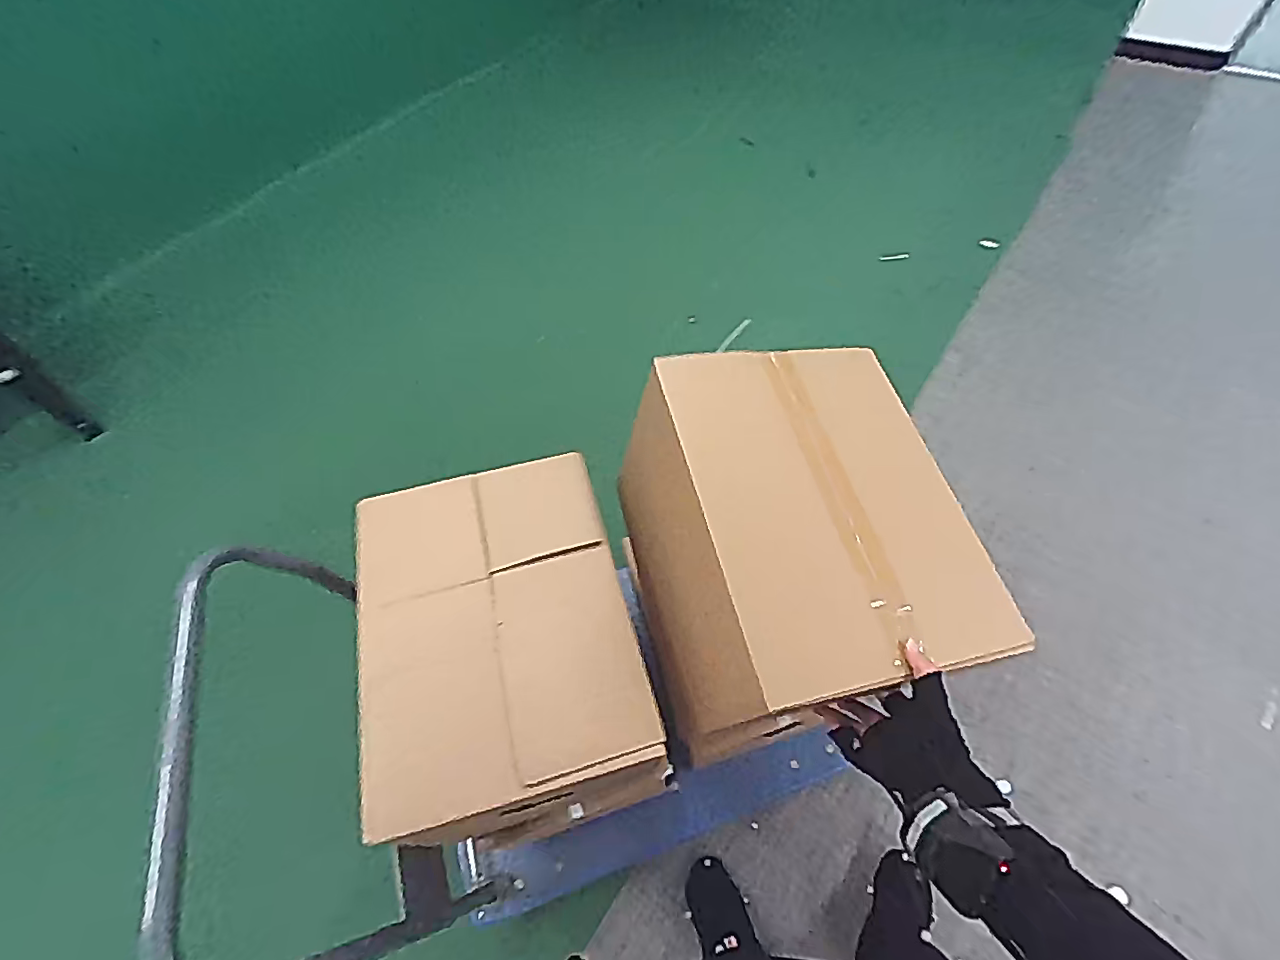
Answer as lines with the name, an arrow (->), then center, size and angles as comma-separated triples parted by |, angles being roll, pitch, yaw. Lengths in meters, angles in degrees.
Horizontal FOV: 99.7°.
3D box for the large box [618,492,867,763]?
large box -> 0.174, 0.301, 1.090 | 0.320, 0.320, 0.408 | -19, 60, -5
